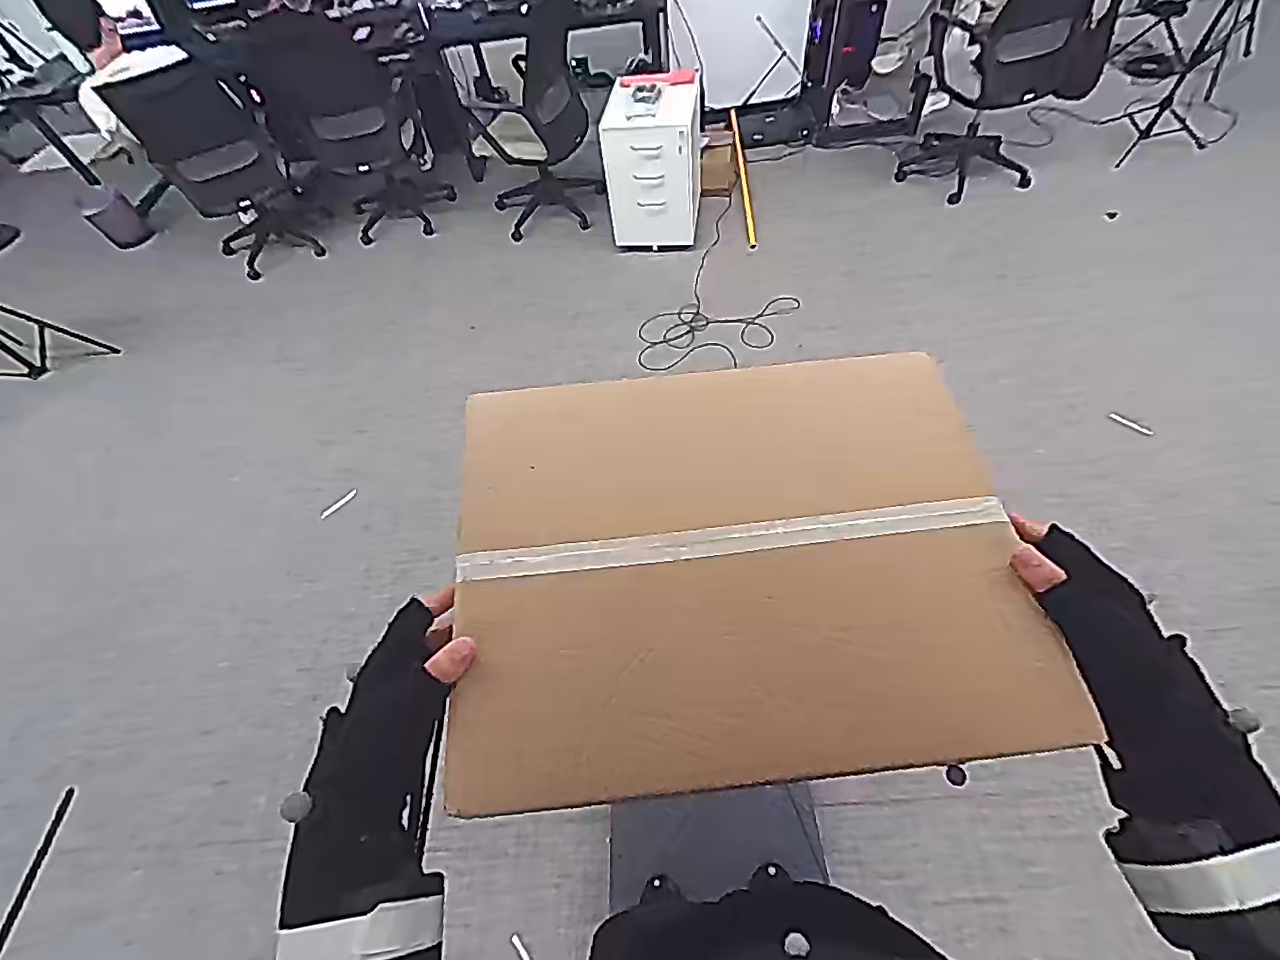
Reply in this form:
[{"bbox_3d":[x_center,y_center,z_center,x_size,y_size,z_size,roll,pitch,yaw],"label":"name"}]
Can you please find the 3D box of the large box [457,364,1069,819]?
[{"bbox_3d":[0.071,0.119,0.540,0.408,0.320,0.320,-6,62,-2],"label":"large box"}]
